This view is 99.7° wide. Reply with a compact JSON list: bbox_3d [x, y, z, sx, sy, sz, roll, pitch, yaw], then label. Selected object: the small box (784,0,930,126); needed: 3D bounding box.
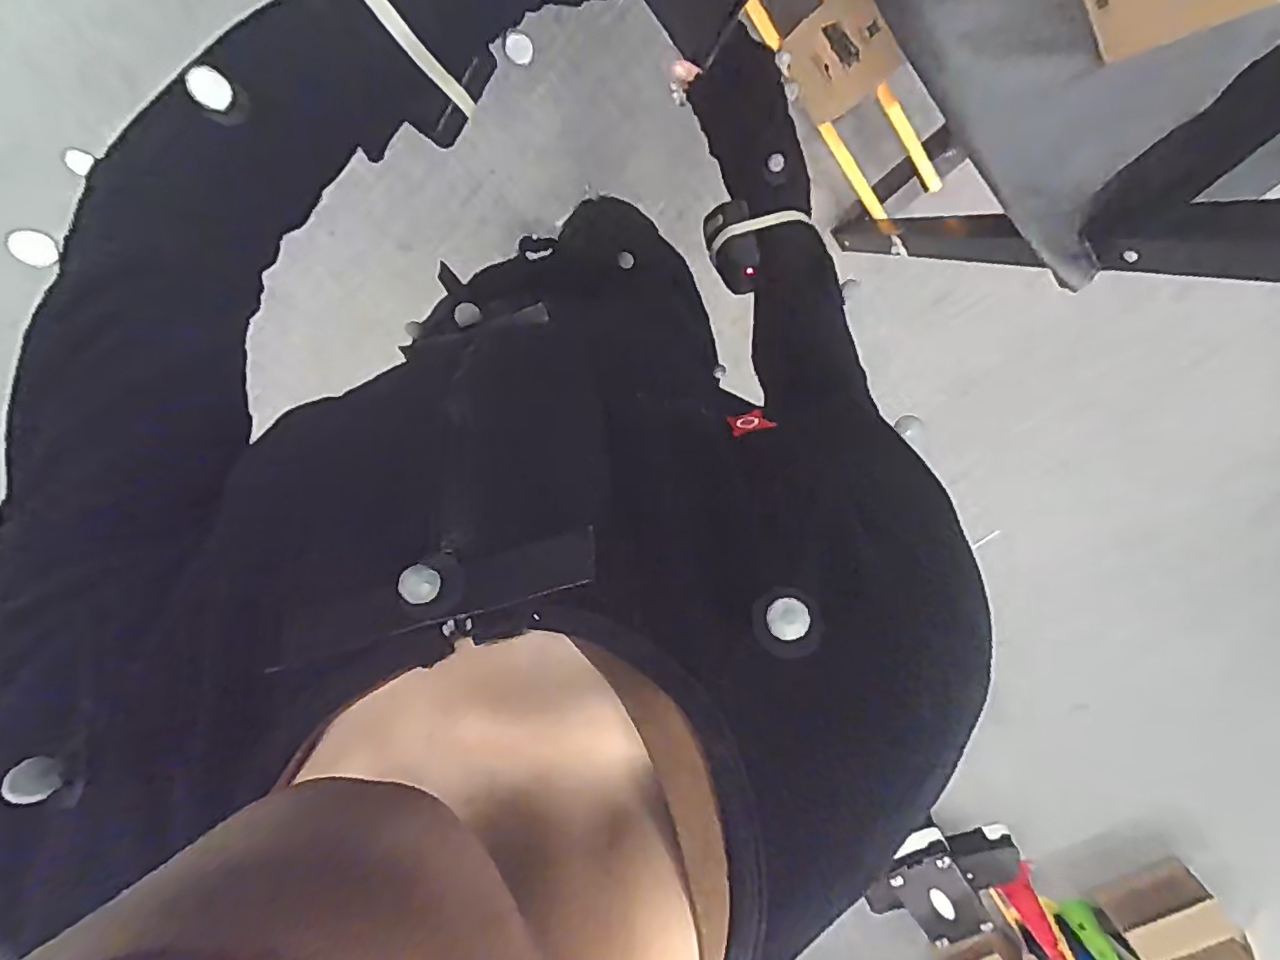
[{"bbox_3d":[0.389,-0.800,1.006,0.179,0.176,0.168,-36,112,12],"label":"small box"}]
